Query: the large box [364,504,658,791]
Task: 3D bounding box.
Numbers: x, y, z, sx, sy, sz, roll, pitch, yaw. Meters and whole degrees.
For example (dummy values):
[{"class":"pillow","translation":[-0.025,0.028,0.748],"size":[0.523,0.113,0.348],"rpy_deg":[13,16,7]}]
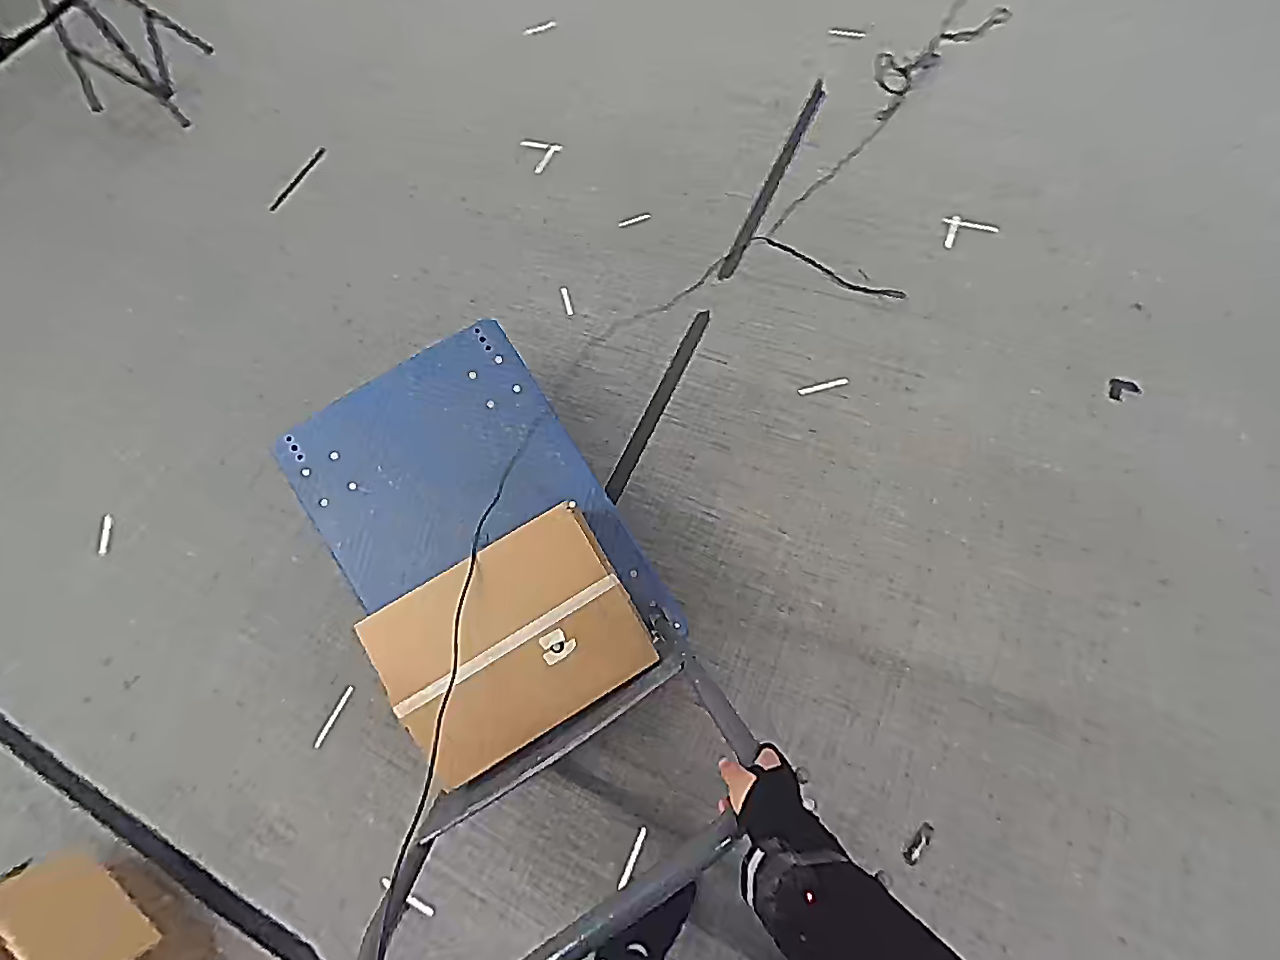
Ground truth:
[{"class":"large box","translation":[-0.224,0.291,1.050],"size":[0.408,0.320,0.320],"rpy_deg":[-32,87,-7]}]
